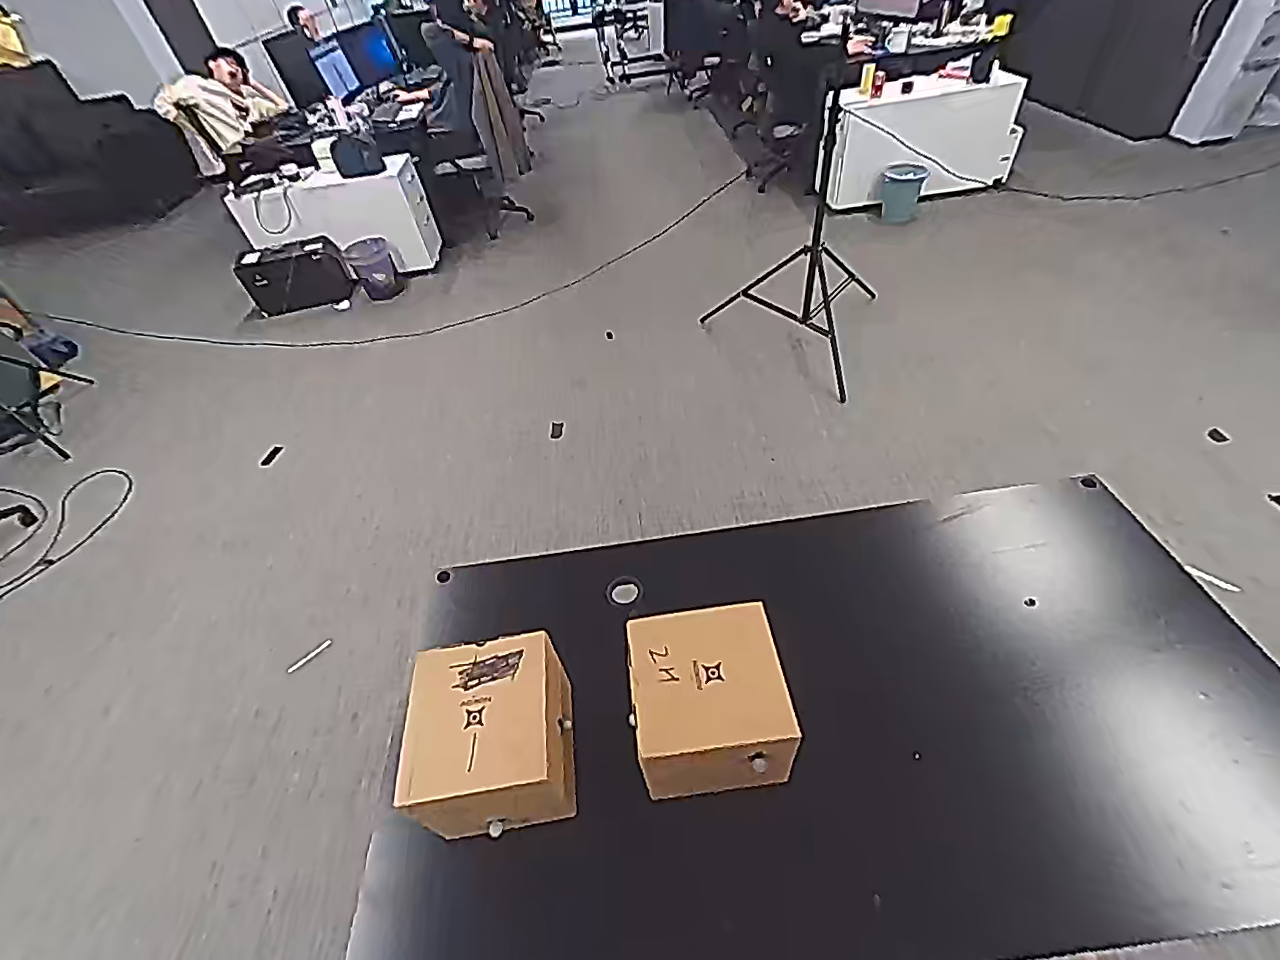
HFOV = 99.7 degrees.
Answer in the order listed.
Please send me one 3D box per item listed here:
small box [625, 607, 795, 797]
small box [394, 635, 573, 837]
[{"bbox_3d":[0.081,0.284,0.687,0.179,0.176,0.168,-8,46,1],"label":"small box"},{"bbox_3d":[-0.183,0.325,0.686,0.168,0.176,0.179,-10,47,-1],"label":"small box"}]
